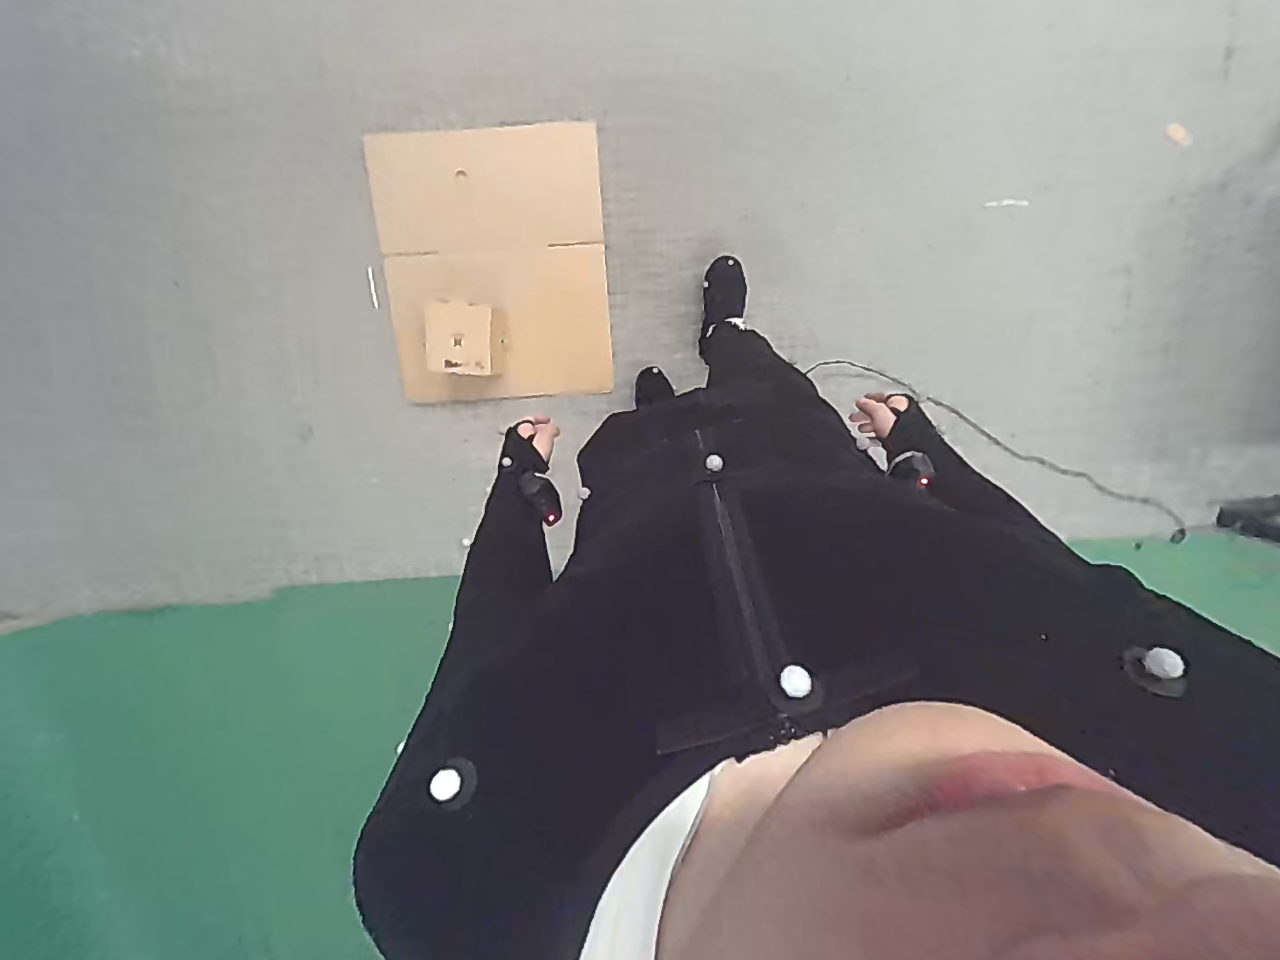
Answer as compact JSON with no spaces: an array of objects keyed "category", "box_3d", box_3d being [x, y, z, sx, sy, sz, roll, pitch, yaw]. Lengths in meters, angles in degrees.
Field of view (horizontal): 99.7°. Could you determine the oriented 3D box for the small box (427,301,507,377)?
[{"category":"small box","box_3d":[-0.457,-0.373,1.442,0.168,0.176,0.179,5,104,-2]}]
